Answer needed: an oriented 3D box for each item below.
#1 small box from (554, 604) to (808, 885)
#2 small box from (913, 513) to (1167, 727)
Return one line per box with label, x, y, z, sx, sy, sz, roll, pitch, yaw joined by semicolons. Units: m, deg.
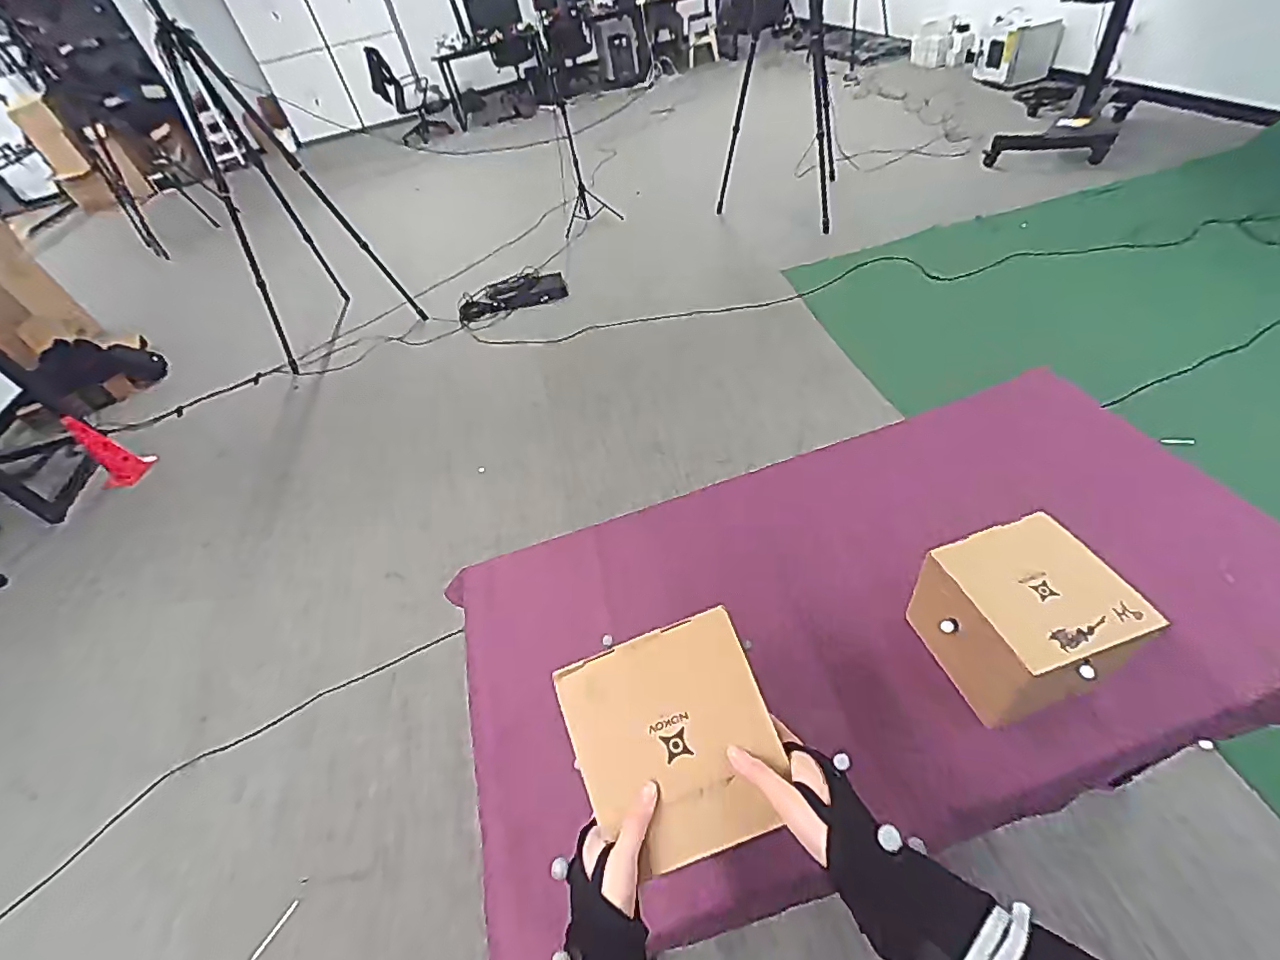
small box;0.035;0.233;0.524;0.168;0.176;0.179;-22;76;1
small box;0.478;0.177;0.686;0.168;0.176;0.179;-19;45;-3
